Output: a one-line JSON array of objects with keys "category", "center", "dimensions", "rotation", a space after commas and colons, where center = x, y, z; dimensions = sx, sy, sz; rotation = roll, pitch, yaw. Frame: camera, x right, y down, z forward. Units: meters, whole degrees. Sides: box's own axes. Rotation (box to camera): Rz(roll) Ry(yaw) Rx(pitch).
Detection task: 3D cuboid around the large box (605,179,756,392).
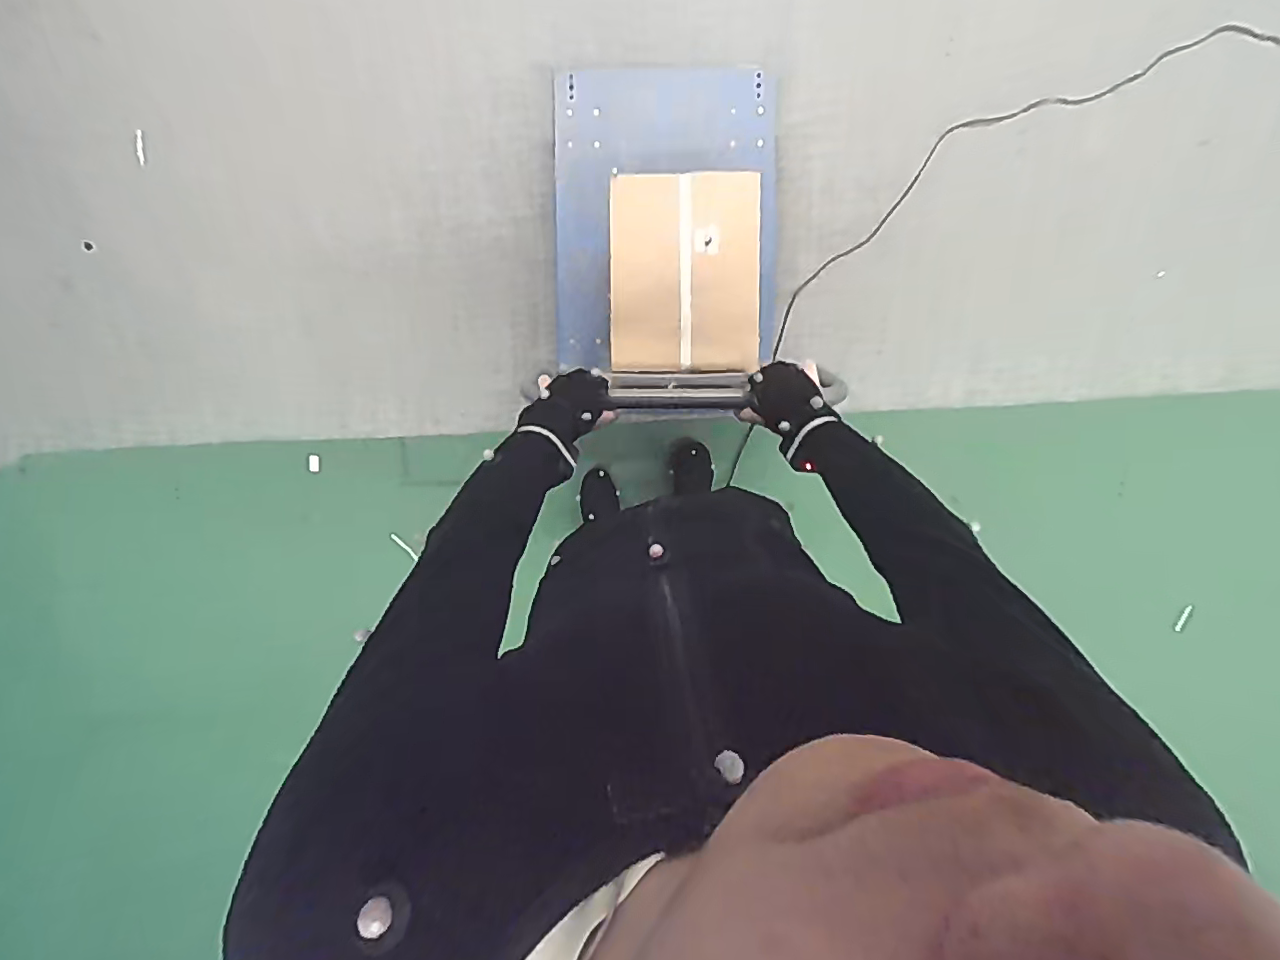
[{"category": "large box", "center": [0.088, -0.430, 1.283], "dimensions": [0.320, 0.320, 0.408], "rotation": [-1, 93, 0]}]
